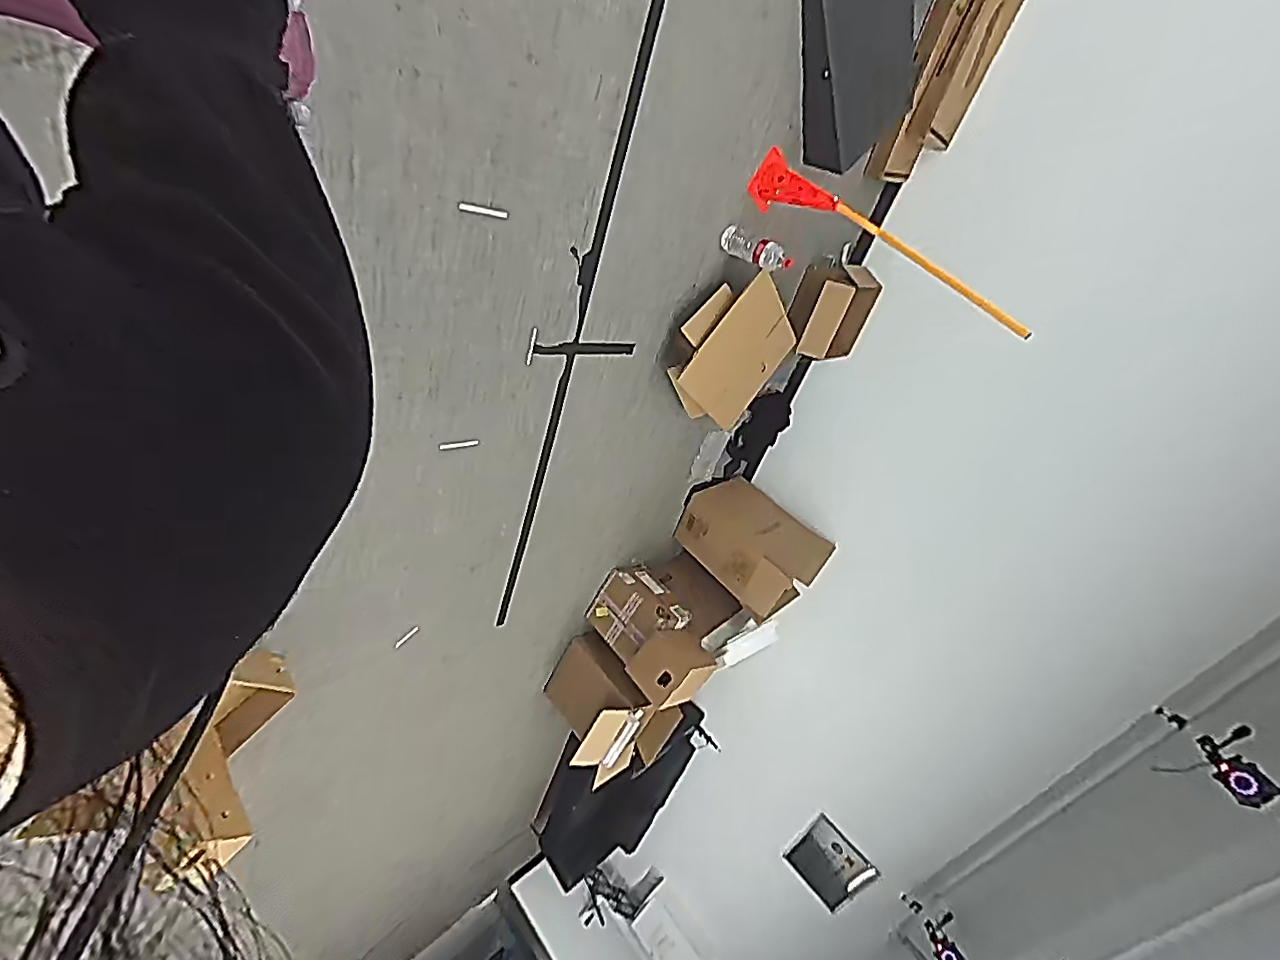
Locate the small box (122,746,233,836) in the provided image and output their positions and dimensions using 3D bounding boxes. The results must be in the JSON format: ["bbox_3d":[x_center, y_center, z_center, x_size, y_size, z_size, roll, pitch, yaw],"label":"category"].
[{"bbox_3d":[-1.384,0.925,1.620,0.168,0.176,0.179,-44,150,-12],"label":"small box"}]

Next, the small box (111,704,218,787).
[{"bbox_3d":[-1.491,0.832,1.697,0.168,0.176,0.179,-43,150,-13],"label":"small box"}]

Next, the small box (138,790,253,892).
[{"bbox_3d":[-1.271,1.019,1.544,0.168,0.176,0.179,-44,152,-10],"label":"small box"}]
